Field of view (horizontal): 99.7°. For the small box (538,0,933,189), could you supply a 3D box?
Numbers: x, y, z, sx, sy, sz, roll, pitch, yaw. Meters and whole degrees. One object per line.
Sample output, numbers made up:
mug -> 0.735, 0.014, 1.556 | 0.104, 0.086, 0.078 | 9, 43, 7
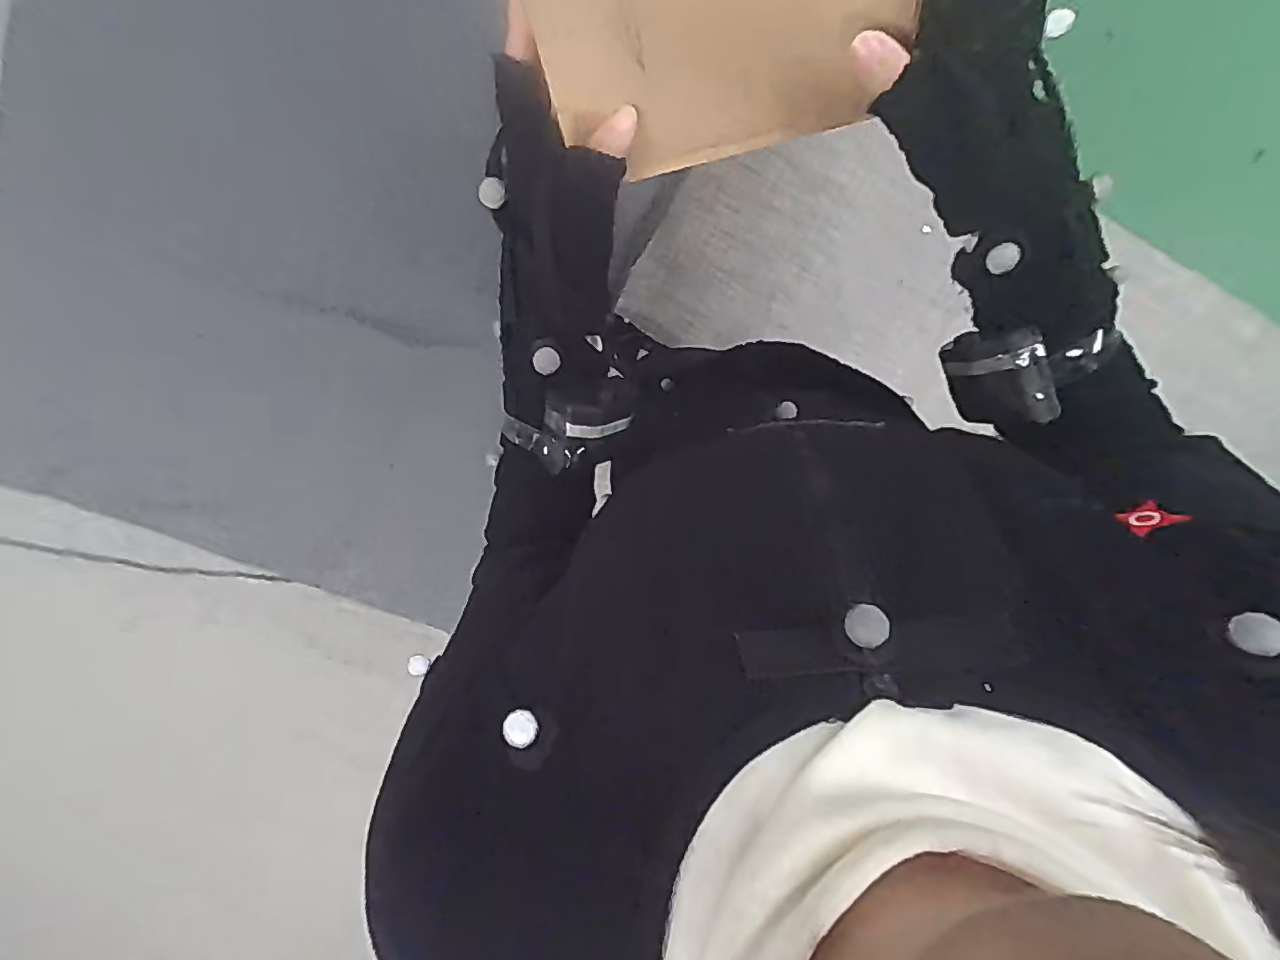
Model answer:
small box -> 0.035, -0.286, 0.277 | 0.179, 0.176, 0.168 | -10, 139, 8
